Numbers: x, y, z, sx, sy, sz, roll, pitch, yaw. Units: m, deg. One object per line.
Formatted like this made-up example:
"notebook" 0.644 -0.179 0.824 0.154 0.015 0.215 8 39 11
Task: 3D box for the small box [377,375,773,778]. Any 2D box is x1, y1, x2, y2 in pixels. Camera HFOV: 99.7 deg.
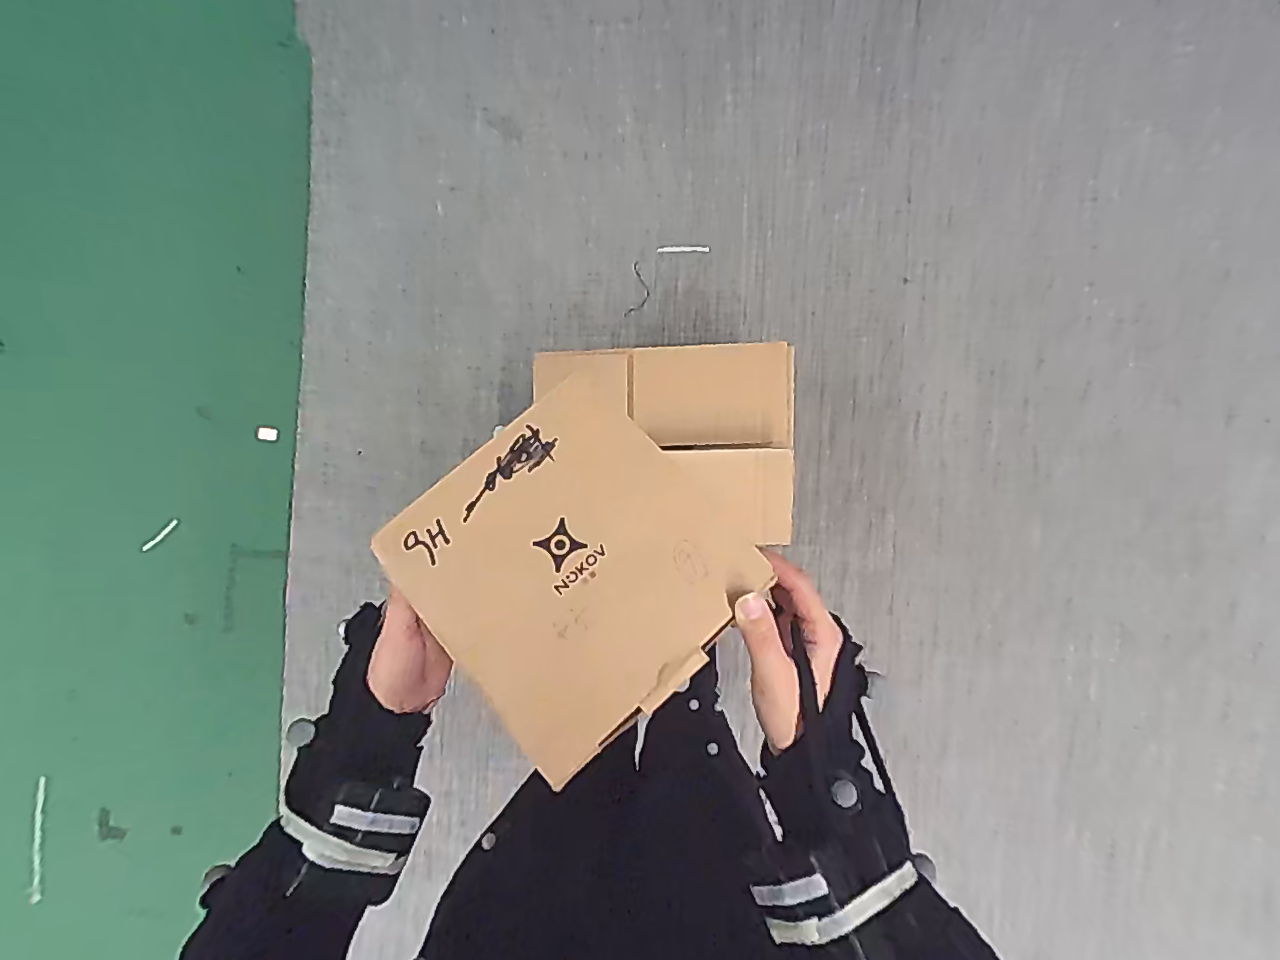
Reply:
"small box" -0.037 0.064 0.389 0.168 0.176 0.179 -41 78 -9
